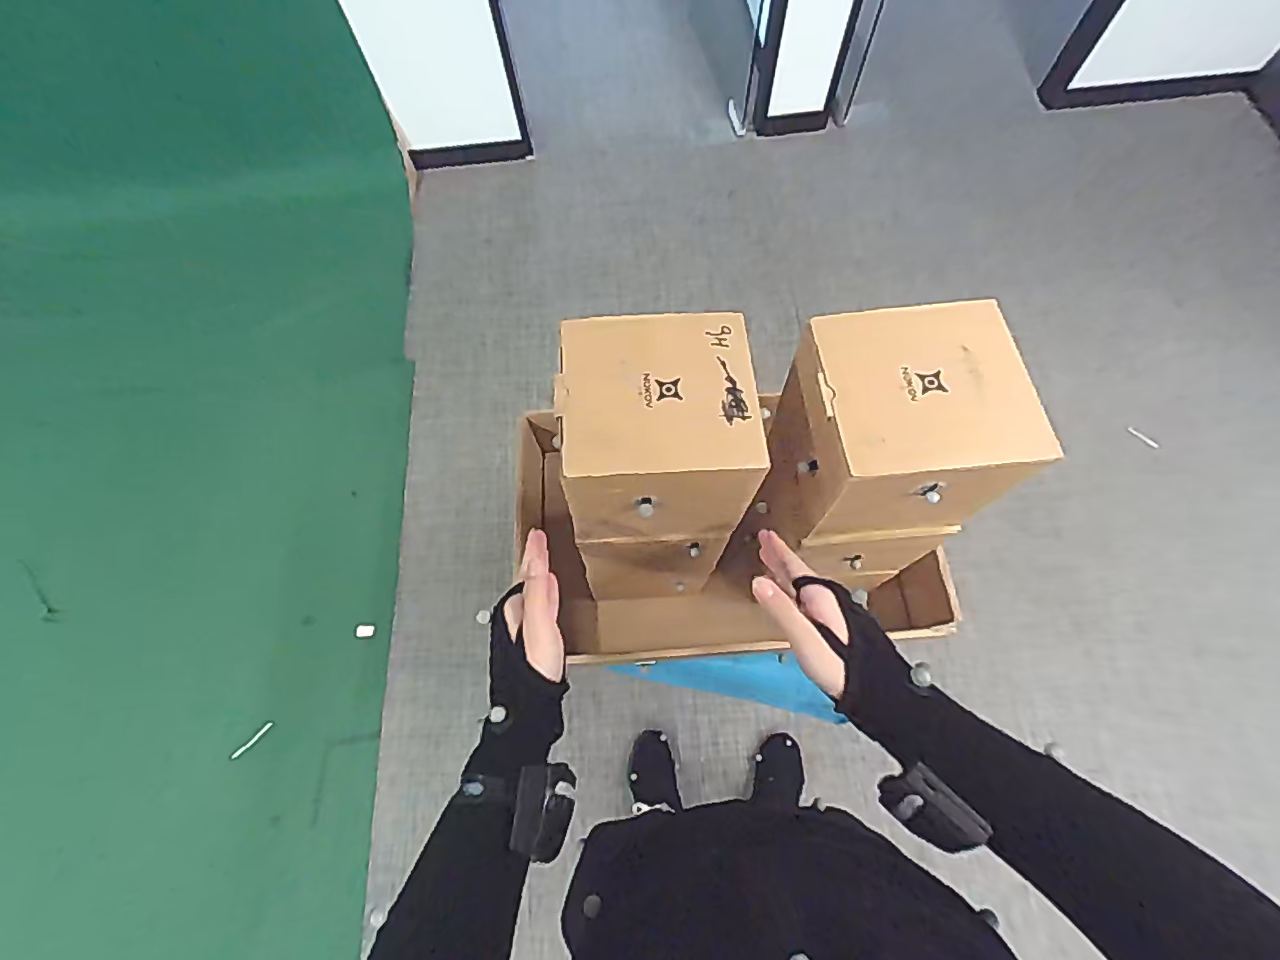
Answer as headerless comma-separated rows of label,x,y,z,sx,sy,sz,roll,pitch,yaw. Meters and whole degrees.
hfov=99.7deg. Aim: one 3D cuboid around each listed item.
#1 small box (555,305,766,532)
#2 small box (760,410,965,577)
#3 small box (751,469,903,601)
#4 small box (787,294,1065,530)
small box,0.015,-0.051,0.544,0.179,0.176,0.168,-4,67,-1
small box,0.259,0.017,0.678,0.179,0.176,0.168,-6,65,2
small box,0.268,0.085,0.827,0.179,0.176,0.168,-4,66,3
small box,0.250,-0.055,0.532,0.179,0.176,0.168,-5,66,2
